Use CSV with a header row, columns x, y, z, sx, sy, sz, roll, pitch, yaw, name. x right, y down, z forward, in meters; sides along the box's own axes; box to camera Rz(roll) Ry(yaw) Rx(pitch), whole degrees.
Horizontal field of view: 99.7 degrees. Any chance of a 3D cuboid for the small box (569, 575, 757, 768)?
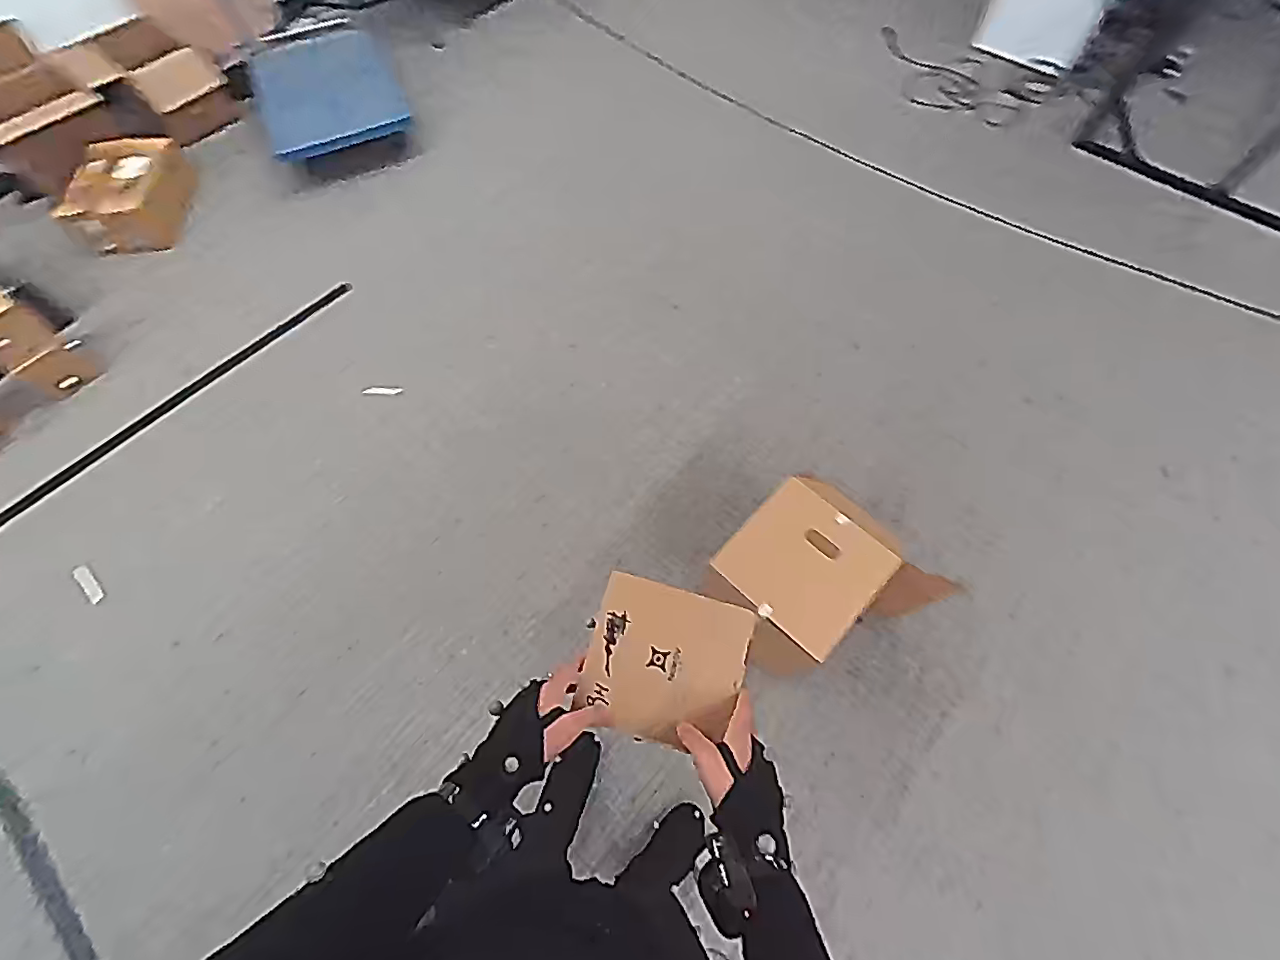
x,y,z,sx,sy,sz,roll,pitch,yaw,name
0.025,0.229,0.670,0.179,0.176,0.168,16,72,3,small box
